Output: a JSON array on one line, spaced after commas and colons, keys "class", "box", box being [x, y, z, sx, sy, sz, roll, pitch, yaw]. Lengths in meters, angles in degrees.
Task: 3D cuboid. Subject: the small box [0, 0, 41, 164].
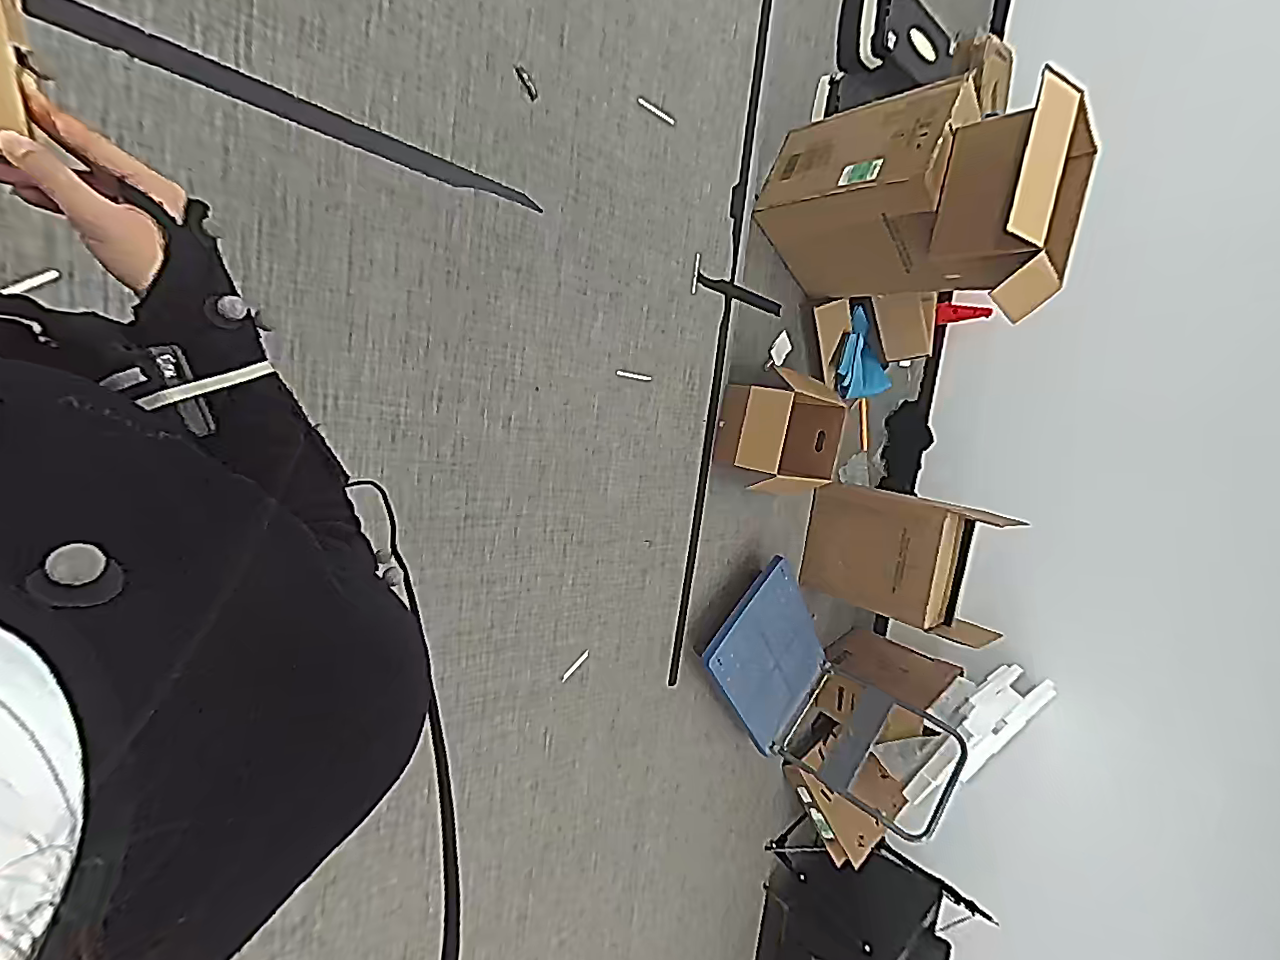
[{"class": "small box", "box": [-0.440, -0.272, 0.269, 0.179, 0.176, 0.168, -8, 115, -42]}]
